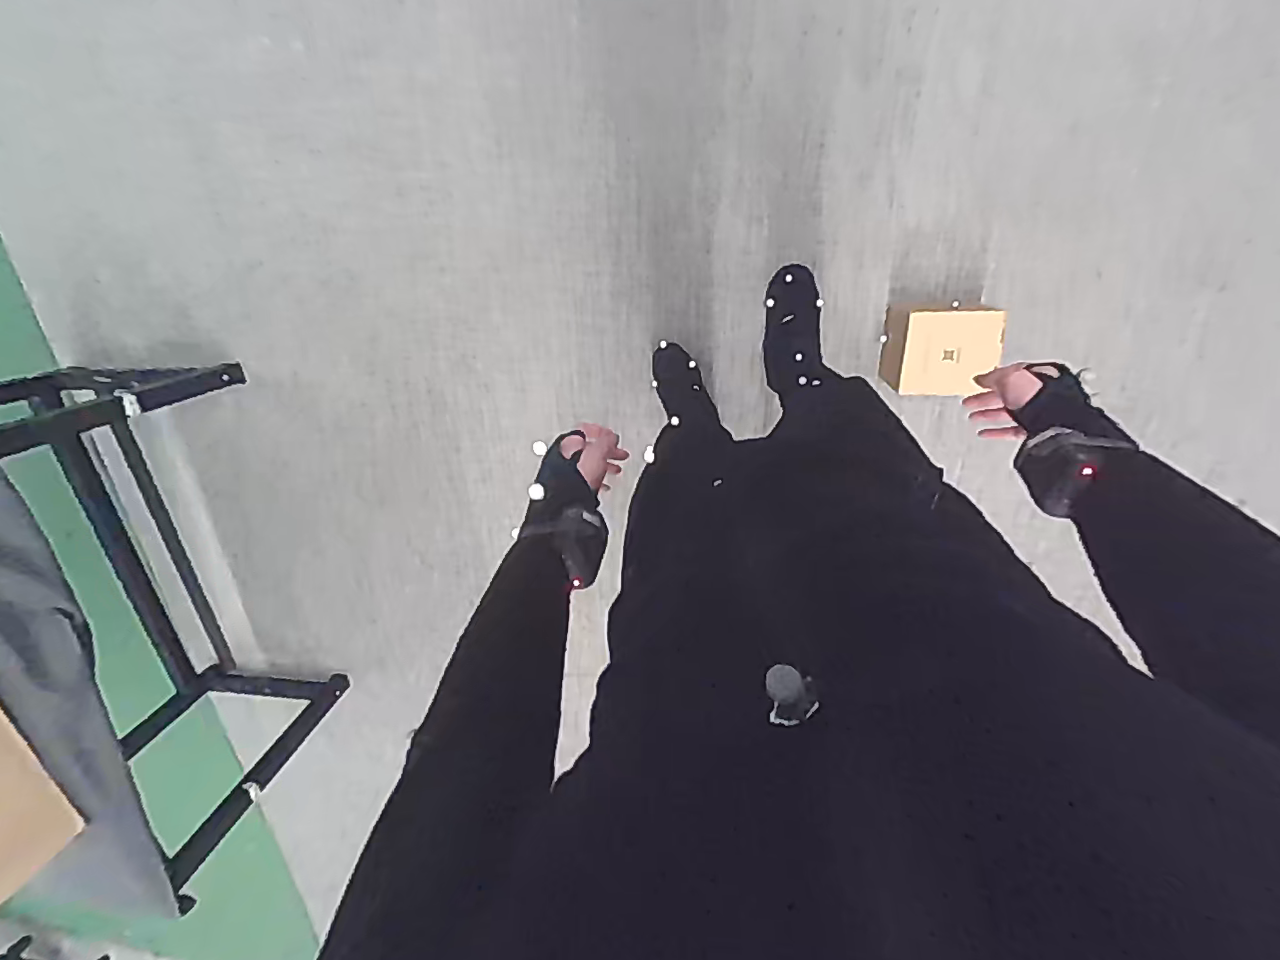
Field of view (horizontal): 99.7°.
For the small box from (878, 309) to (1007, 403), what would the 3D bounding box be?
[{"bbox_3d":[0.621,-0.265,1.134,0.179,0.176,0.168,3,113,9],"label":"small box"}]
